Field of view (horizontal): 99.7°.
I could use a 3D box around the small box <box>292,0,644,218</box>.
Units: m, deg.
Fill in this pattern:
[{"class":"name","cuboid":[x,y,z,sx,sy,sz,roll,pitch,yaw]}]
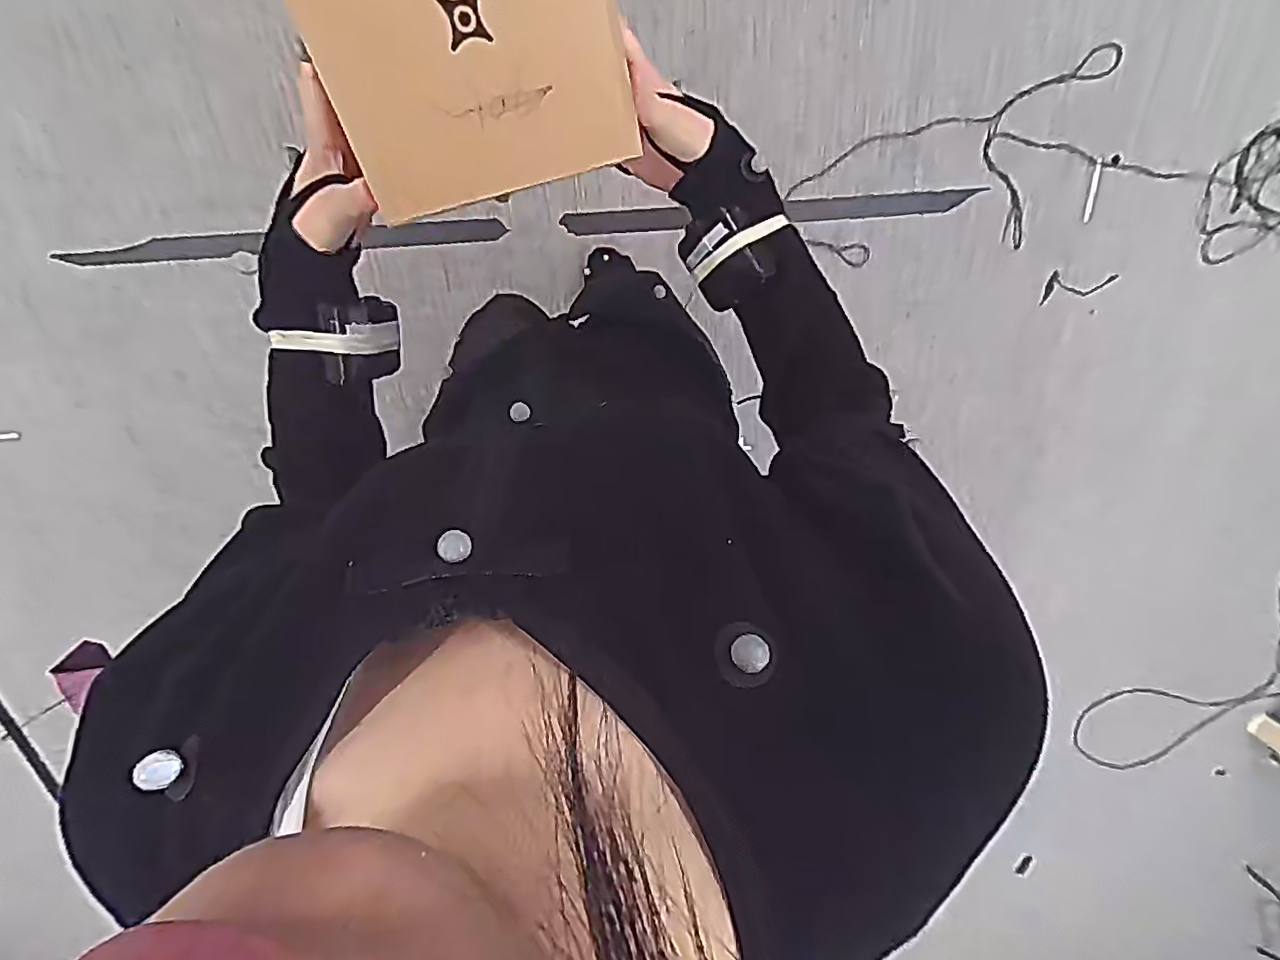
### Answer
[{"class":"small box","cuboid":[-0.110,-0.290,0.345,0.168,0.176,0.179,-18,126,-4]}]
